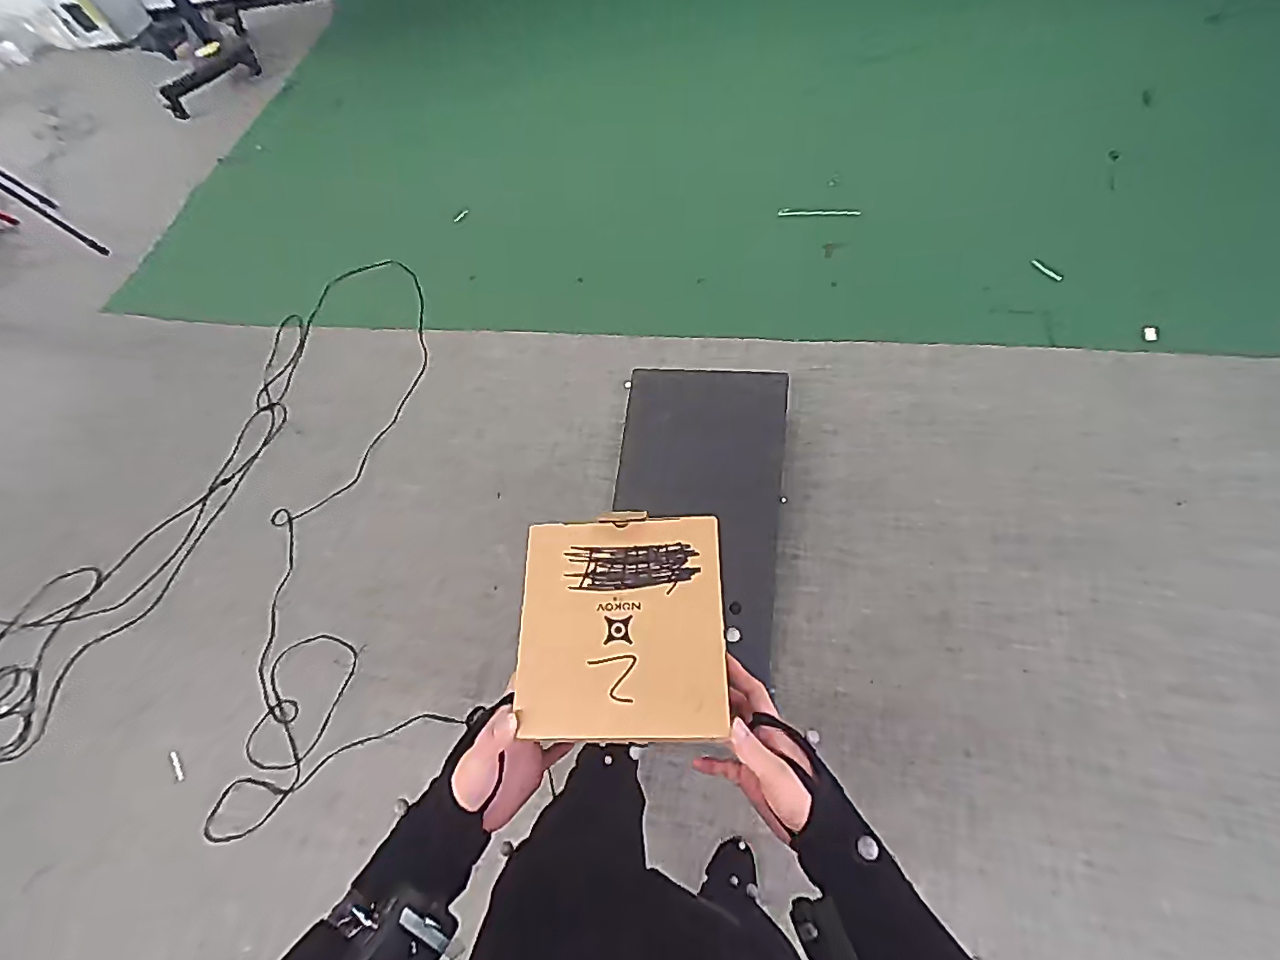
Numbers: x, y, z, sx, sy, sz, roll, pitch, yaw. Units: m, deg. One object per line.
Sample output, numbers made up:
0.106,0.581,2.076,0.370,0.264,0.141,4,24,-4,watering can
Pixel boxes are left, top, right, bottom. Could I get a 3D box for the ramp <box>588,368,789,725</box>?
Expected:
0.155,0.135,1.553,0.509,0.206,0.991,3,65,11,ramp
